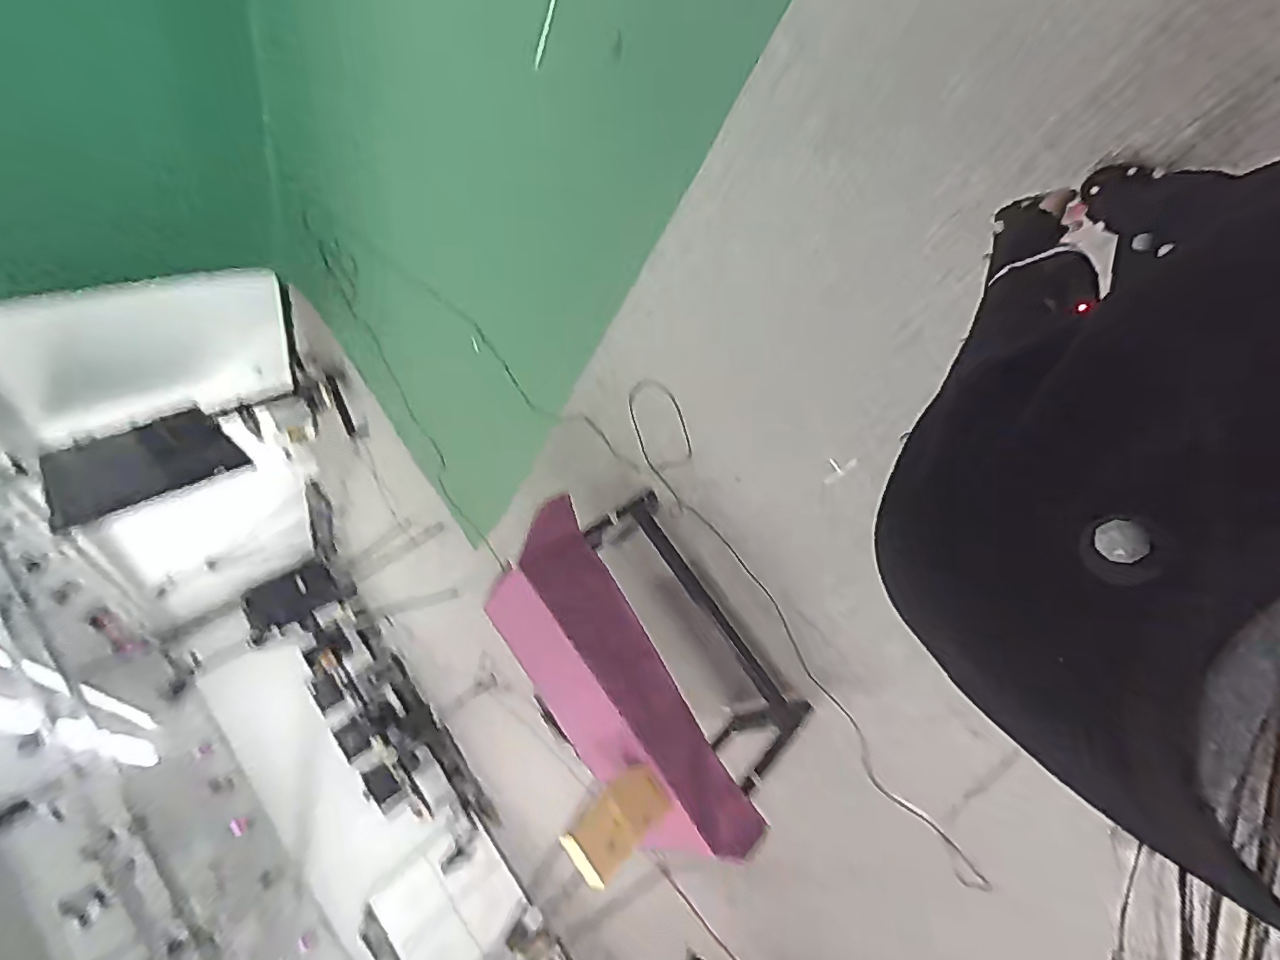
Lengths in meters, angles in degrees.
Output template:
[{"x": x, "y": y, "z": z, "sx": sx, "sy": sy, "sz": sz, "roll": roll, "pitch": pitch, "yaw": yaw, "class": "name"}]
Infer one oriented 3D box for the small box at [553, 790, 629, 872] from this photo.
[{"x": -0.162, "y": 1.177, "z": 1.827, "sx": 0.168, "sy": 0.176, "sz": 0.179, "roll": 52, "pitch": 143, "yaw": 11, "class": "small box"}]
